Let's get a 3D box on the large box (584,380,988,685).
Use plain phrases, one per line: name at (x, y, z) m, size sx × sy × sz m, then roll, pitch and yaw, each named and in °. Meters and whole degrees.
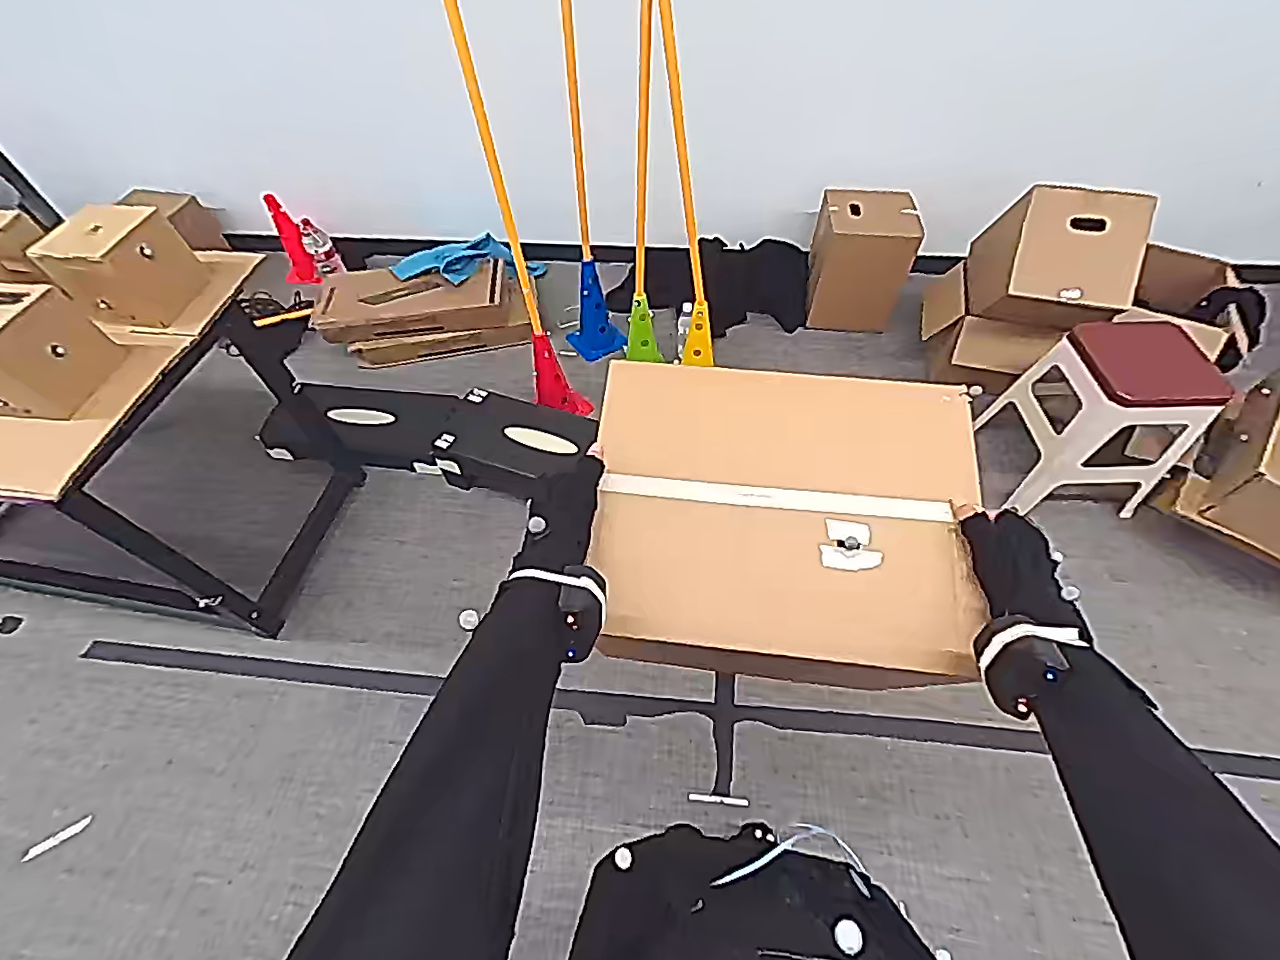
large box at (0.156, 0.089, 0.724) m, size 0.408 × 0.320 × 0.320 m, roll 5°, pitch 69°, yaw 4°
